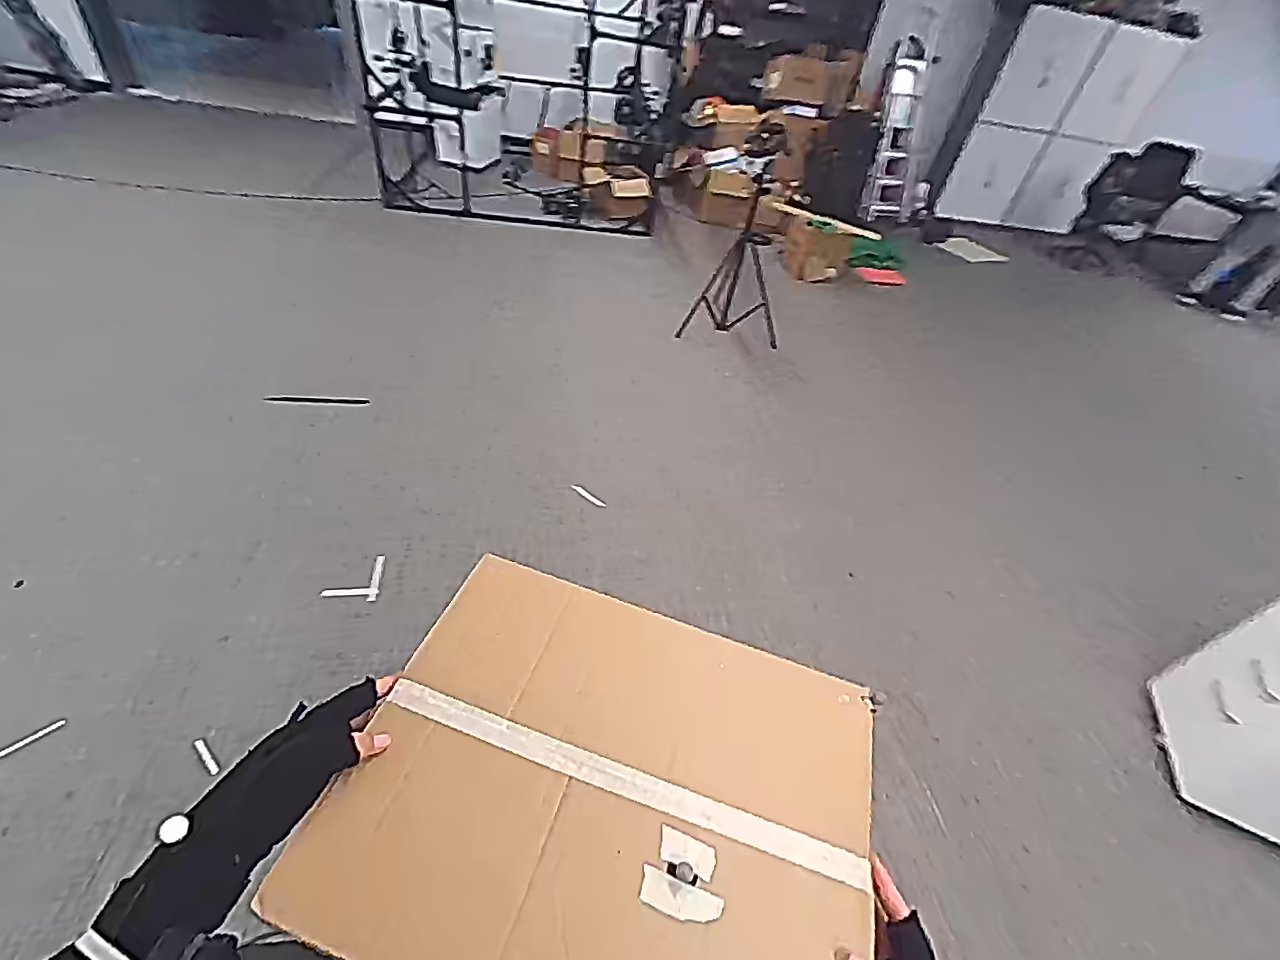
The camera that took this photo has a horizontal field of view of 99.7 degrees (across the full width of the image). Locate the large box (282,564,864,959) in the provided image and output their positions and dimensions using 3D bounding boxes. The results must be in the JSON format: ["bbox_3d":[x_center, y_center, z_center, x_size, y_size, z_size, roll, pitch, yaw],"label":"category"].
[{"bbox_3d":[-0.035,0.347,0.550,0.408,0.320,0.320,18,46,7],"label":"large box"}]
